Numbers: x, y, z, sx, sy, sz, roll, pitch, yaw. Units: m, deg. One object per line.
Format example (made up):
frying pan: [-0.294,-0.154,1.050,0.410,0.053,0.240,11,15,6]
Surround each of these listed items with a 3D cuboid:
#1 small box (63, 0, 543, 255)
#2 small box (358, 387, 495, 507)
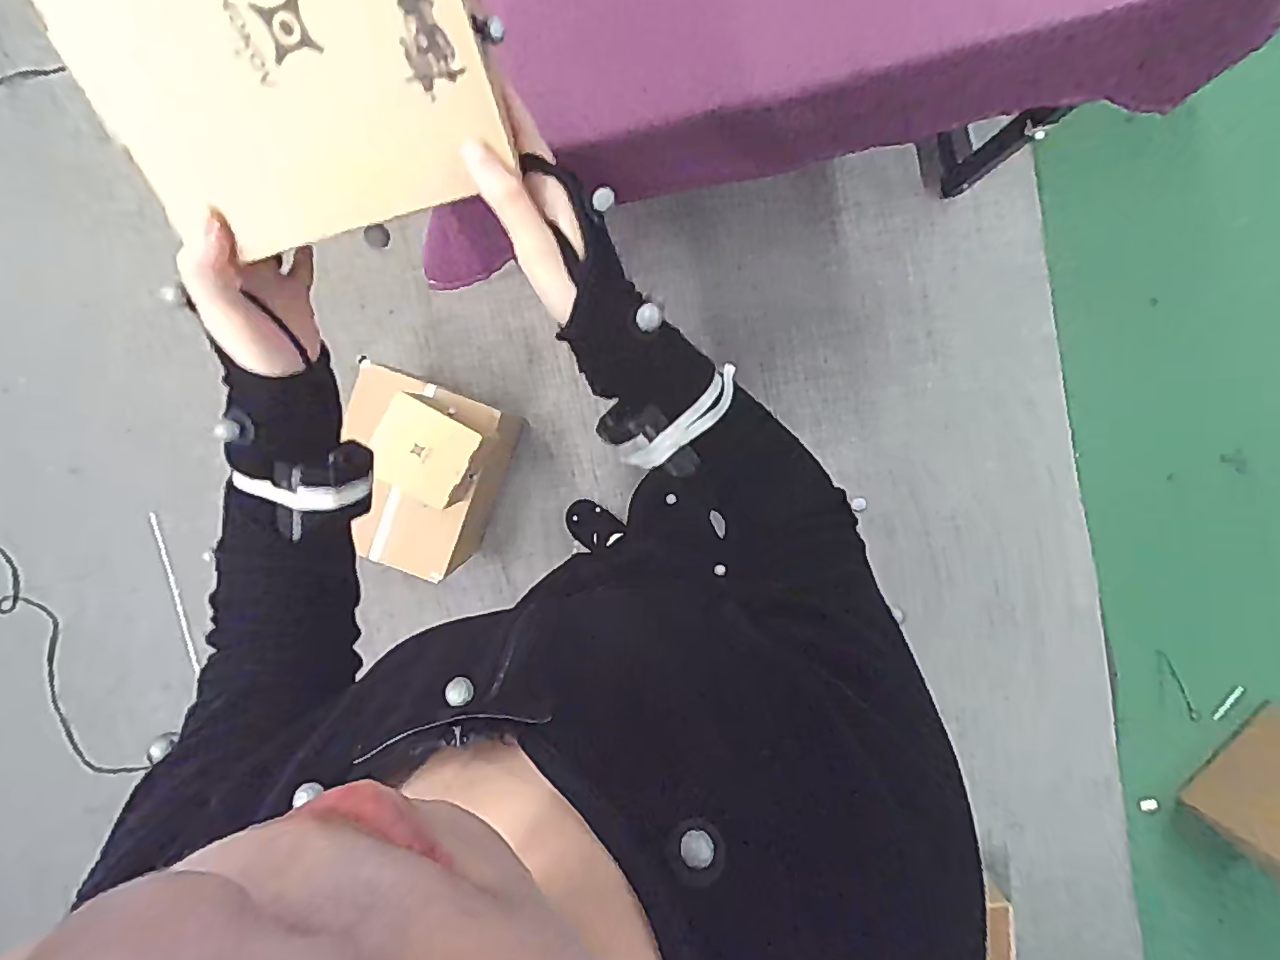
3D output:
small box: [-0.166,-0.246,0.313,0.179,0.176,0.168,-15,122,2]
small box: [-0.413,-0.066,1.080,0.179,0.176,0.168,29,93,-8]
